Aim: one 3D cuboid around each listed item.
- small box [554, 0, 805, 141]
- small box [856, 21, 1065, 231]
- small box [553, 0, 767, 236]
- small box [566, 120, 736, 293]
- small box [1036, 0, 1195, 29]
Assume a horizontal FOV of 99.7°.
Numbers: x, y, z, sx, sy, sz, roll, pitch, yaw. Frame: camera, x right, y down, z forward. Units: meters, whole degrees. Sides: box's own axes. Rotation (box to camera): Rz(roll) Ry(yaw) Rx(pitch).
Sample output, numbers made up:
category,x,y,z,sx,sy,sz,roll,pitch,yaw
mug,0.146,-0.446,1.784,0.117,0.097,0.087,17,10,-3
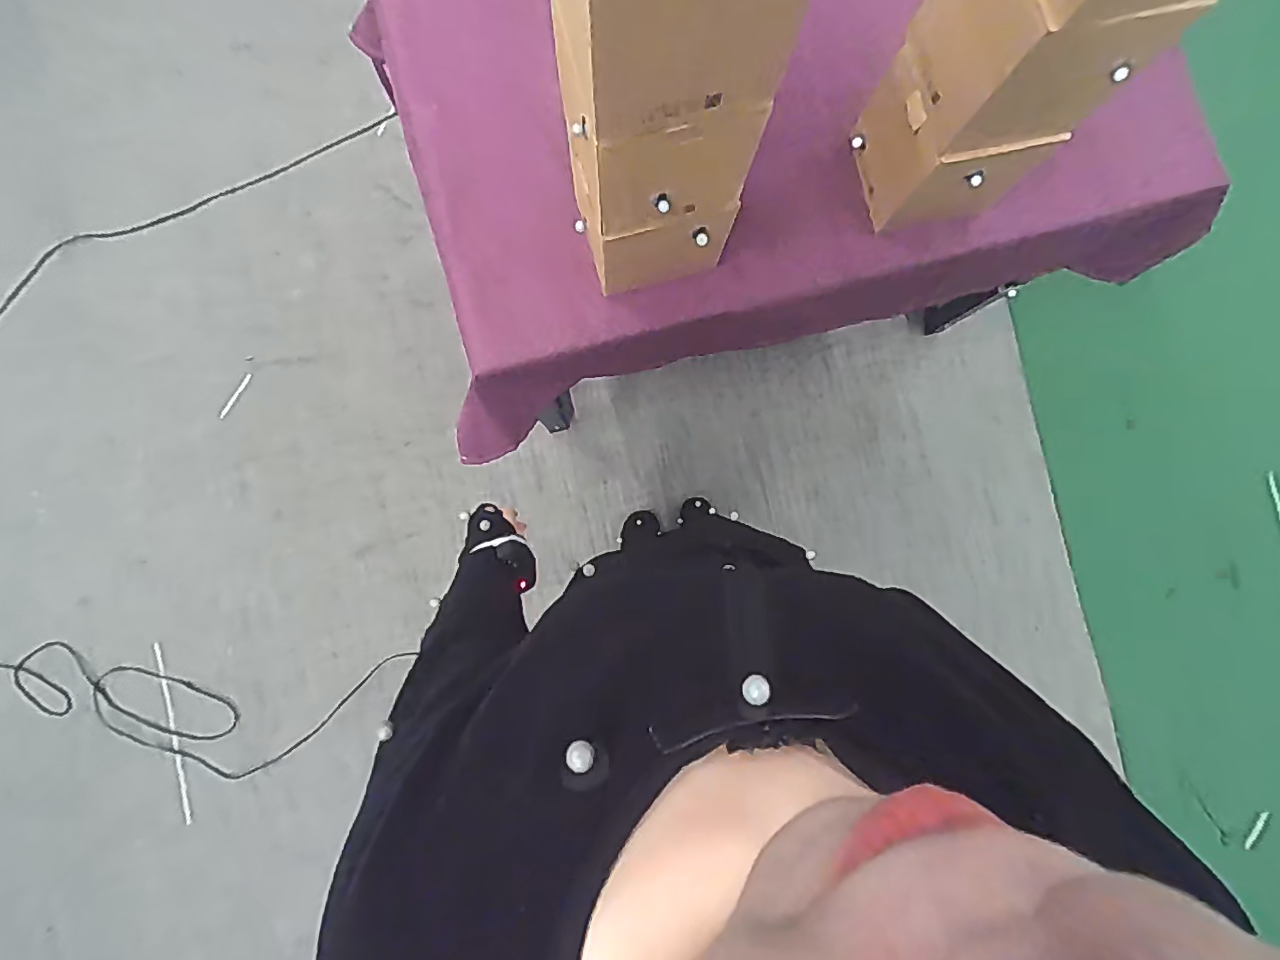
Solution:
category,x,y,z,sx,sy,sz,roll,pitch,yaw
small box,0.018,-0.401,0.402,0.168,0.176,0.179,-15,87,-3
small box,0.422,-0.473,0.749,0.179,0.176,0.168,-13,87,-3
small box,0.011,-0.392,0.566,0.168,0.176,0.179,-15,88,-3
small box,0.010,-0.378,0.729,0.179,0.176,0.168,-15,86,-3
small box,0.441,-0.512,0.424,0.179,0.176,0.168,-15,86,-3
